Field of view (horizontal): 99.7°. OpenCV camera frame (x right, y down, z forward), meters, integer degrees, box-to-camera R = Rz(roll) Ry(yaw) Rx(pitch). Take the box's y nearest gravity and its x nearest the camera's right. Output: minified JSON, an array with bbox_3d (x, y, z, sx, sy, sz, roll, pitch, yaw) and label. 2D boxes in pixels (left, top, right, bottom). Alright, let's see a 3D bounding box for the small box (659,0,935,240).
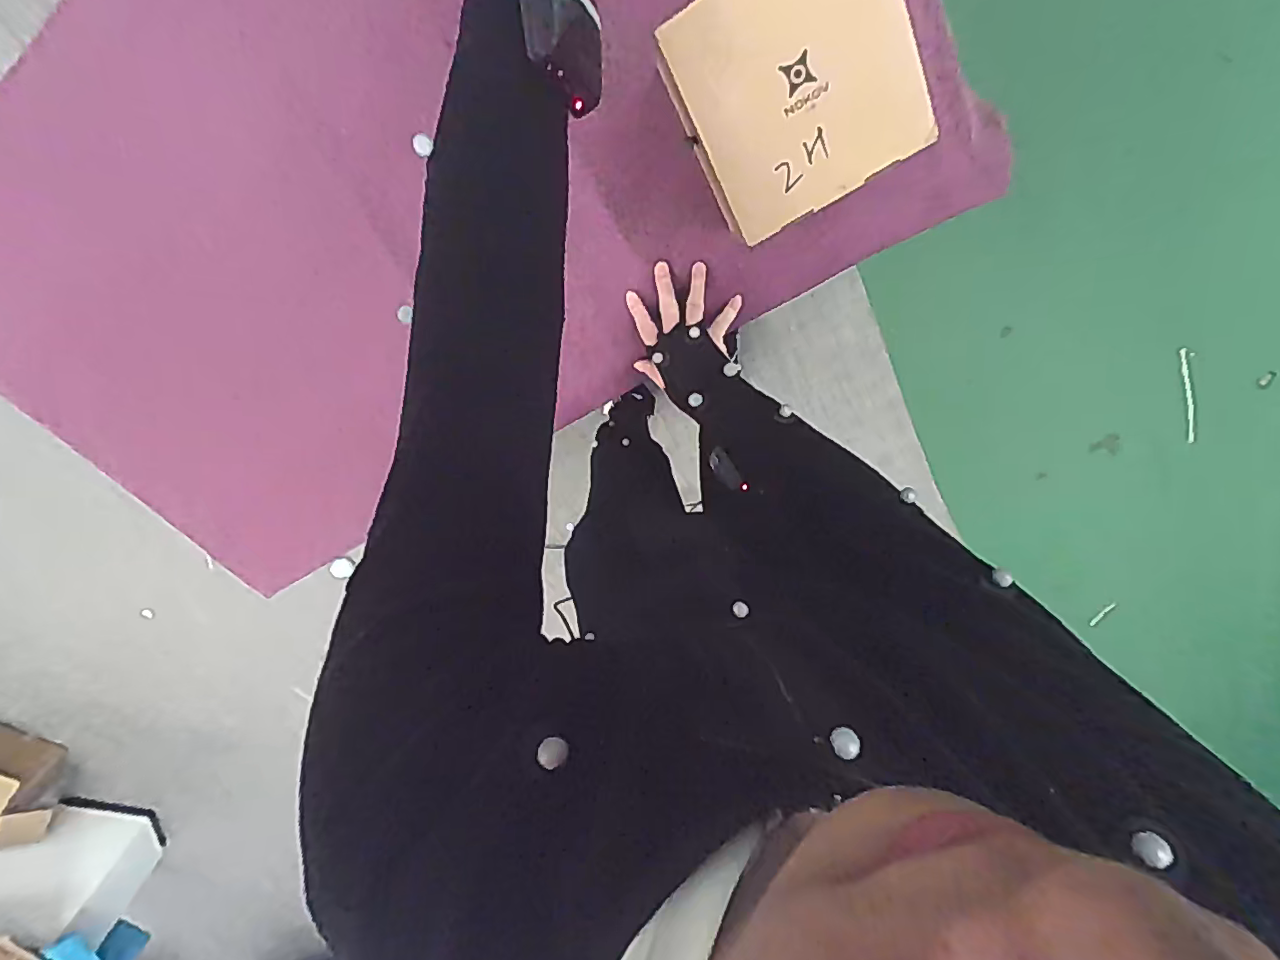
[{"bbox_3d":[0.127,-0.345,0.484,0.168,0.176,0.179,-24,116,18],"label":"small box"}]
